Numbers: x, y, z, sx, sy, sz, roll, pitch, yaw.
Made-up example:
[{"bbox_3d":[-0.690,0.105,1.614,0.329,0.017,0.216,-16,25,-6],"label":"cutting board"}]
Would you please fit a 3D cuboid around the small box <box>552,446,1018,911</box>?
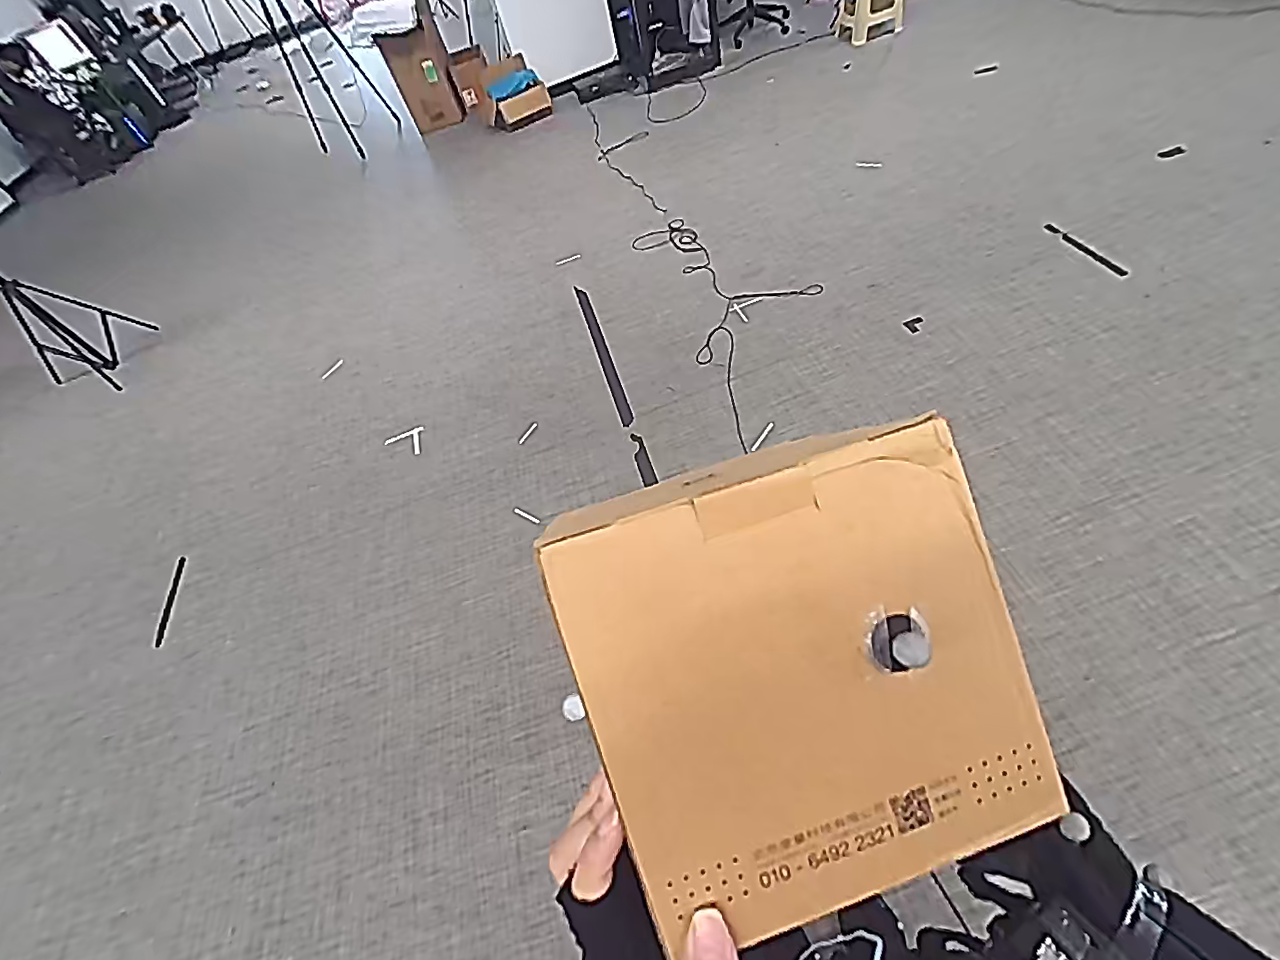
[{"bbox_3d":[0.061,0.090,0.303,0.168,0.179,0.176,-18,91,-4],"label":"small box"}]
